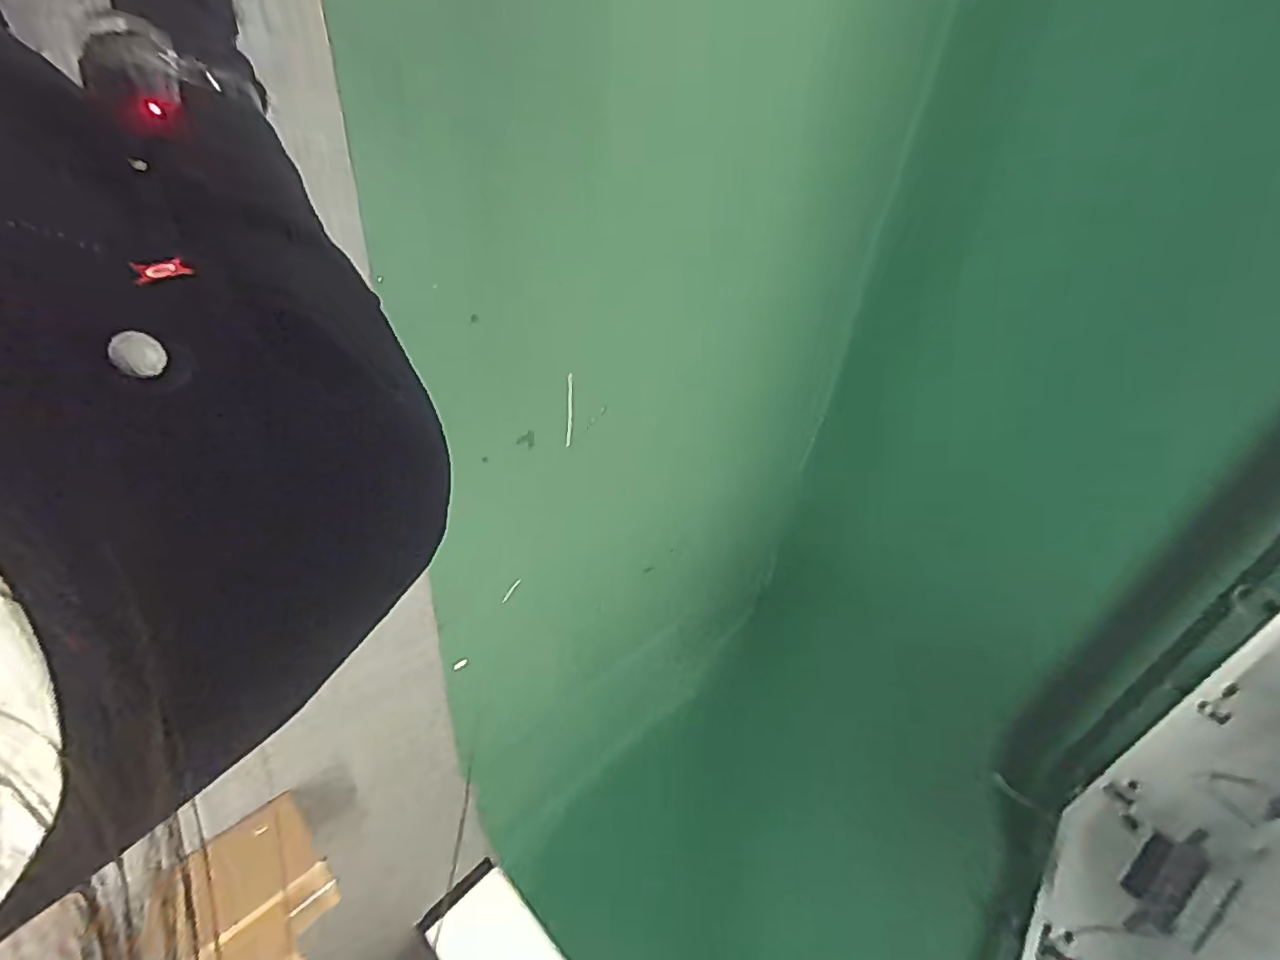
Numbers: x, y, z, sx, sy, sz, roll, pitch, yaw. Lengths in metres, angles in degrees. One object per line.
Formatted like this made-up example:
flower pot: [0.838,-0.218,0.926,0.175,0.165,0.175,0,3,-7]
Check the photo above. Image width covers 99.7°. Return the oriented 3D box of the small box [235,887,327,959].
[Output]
small box: [-1.100,1.410,1.658,0.179,0.176,0.168,-26,134,-37]
